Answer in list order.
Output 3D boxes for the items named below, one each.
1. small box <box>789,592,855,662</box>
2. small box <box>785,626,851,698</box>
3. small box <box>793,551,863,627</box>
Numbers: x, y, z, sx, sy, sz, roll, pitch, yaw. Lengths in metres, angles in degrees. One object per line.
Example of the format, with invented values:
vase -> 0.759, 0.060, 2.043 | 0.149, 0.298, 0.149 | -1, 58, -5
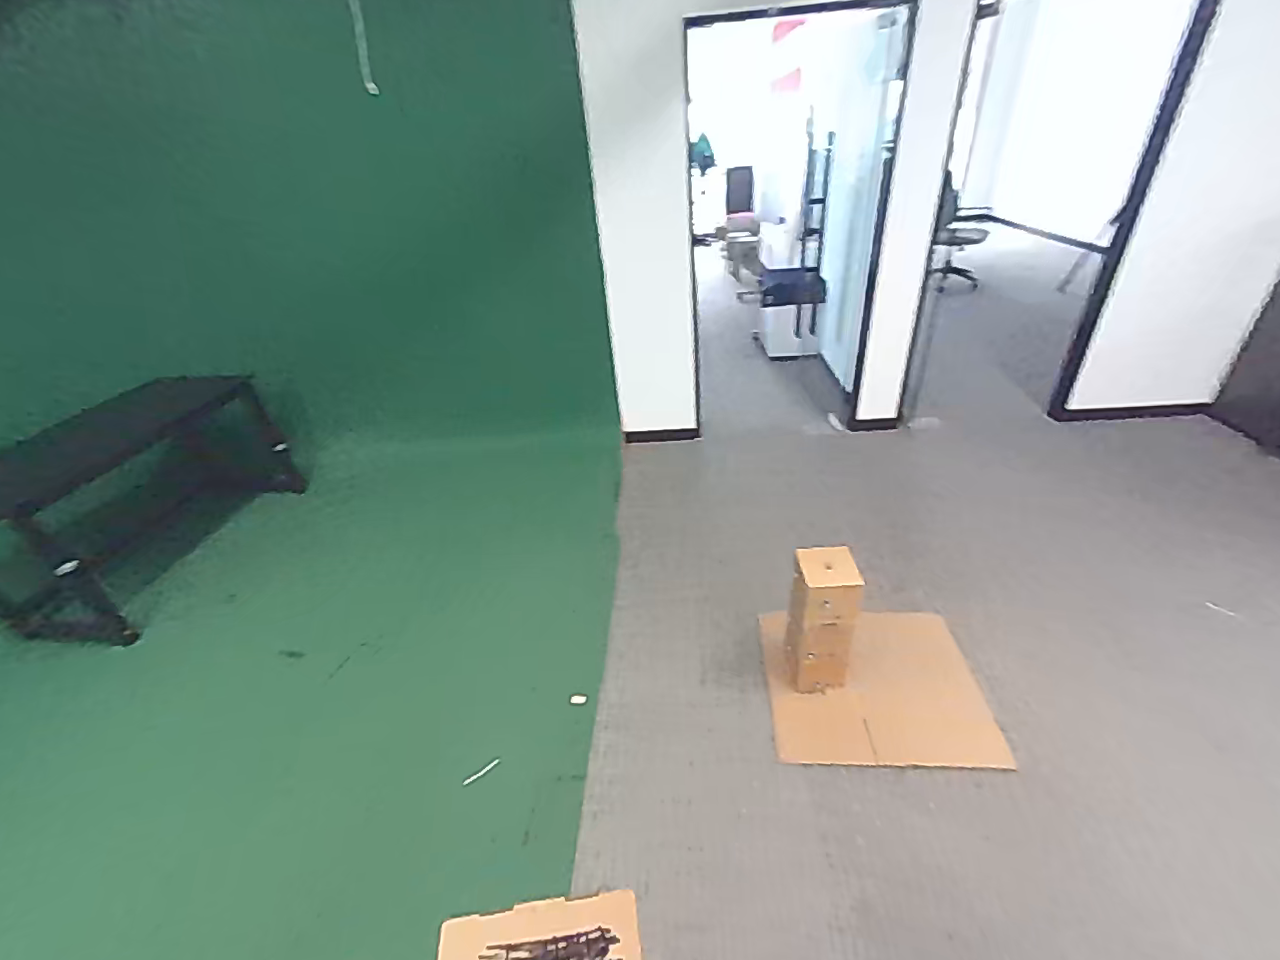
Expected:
small box -> 0.589, 0.481, 1.772 | 0.168, 0.176, 0.179 | -4, 32, 3
small box -> 0.604, 0.618, 1.859 | 0.168, 0.176, 0.179 | -6, 33, 0
small box -> 0.580, 0.344, 1.686 | 0.168, 0.176, 0.179 | -4, 32, 3
